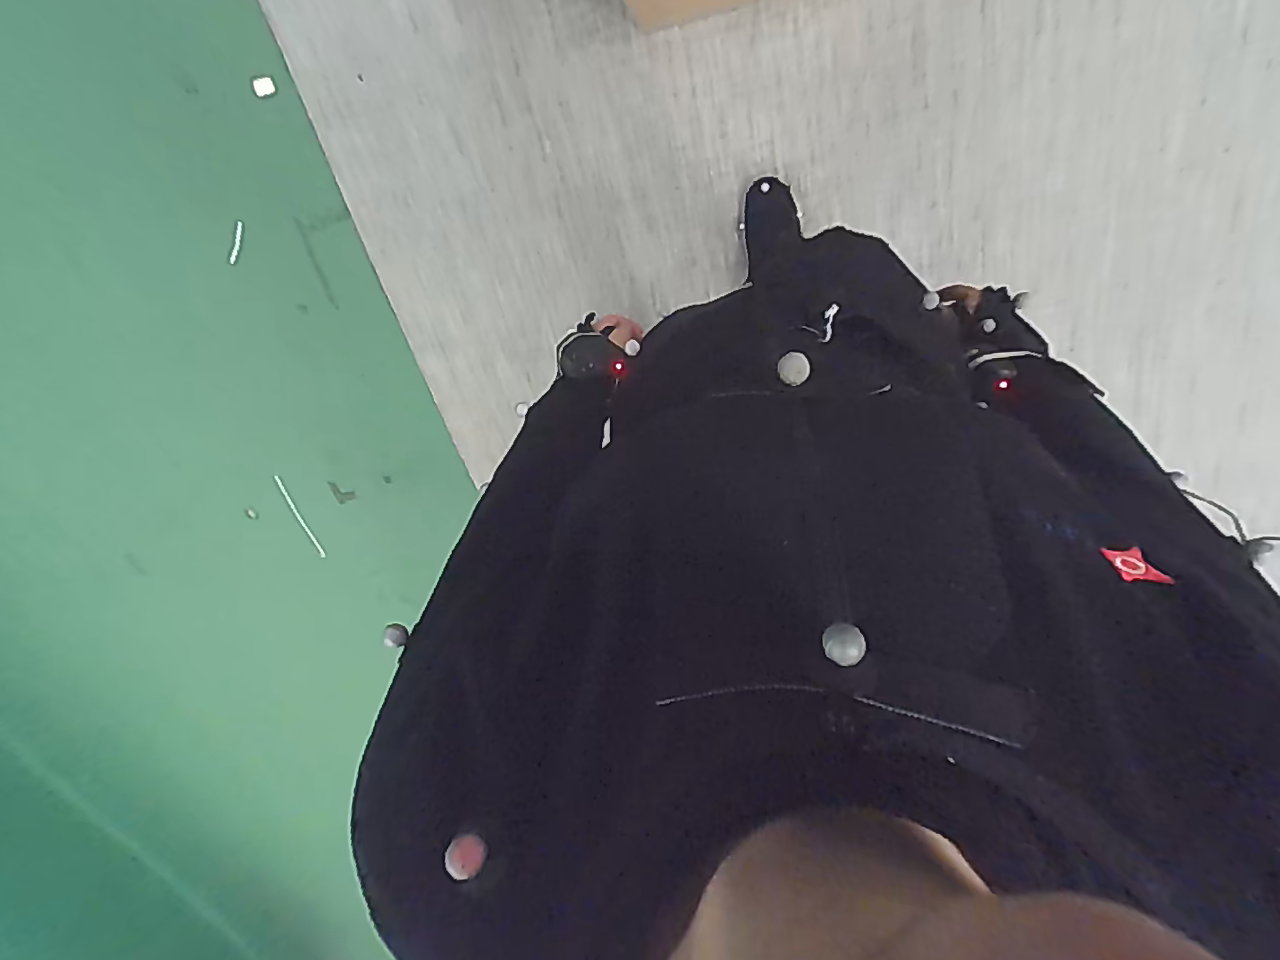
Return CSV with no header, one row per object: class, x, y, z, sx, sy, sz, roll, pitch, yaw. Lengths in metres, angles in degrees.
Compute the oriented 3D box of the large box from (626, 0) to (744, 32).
large box,0.140,-0.934,0.784,0.408,0.320,0.320,-7,117,13
